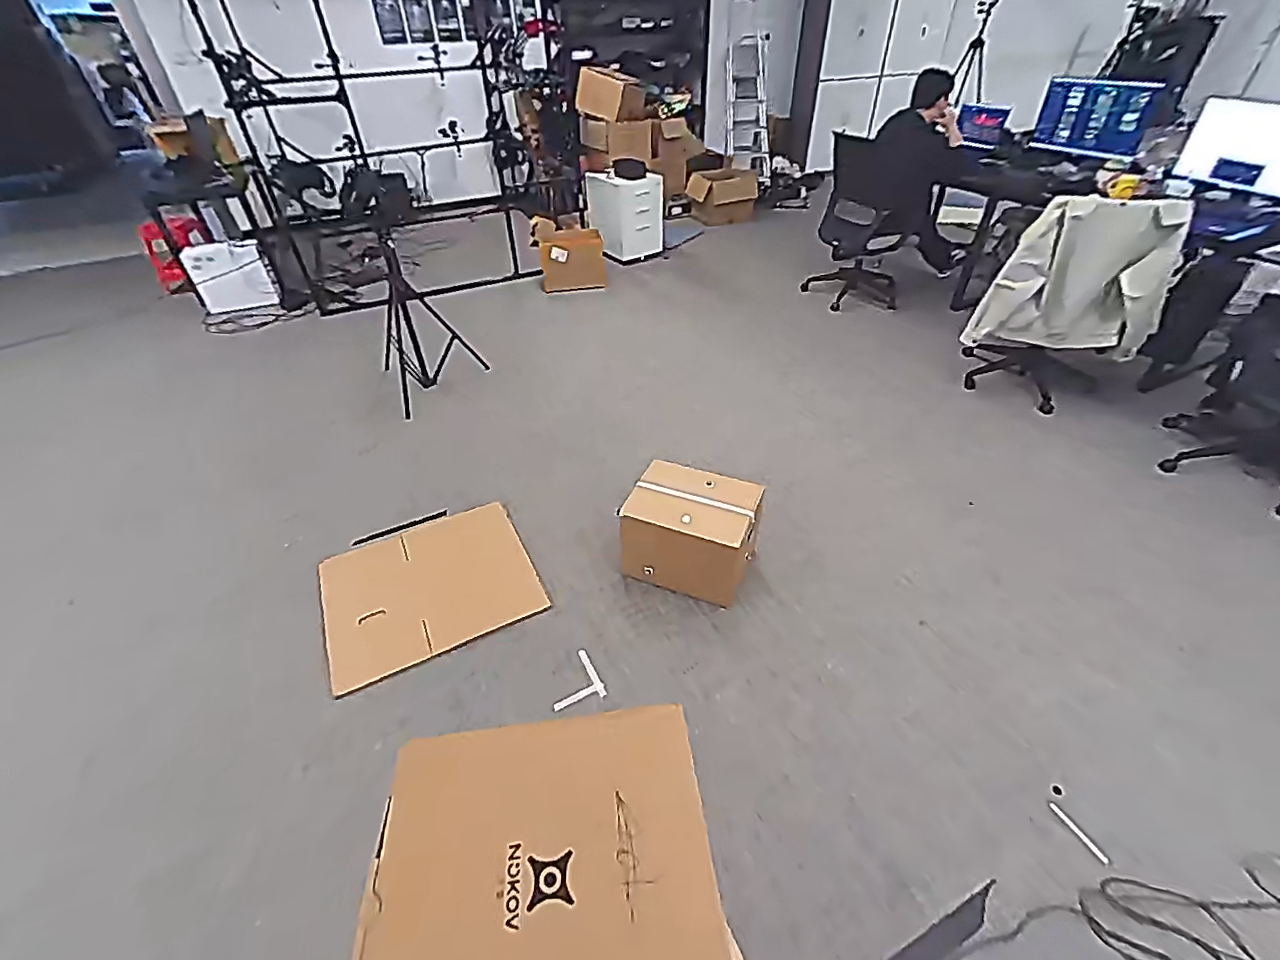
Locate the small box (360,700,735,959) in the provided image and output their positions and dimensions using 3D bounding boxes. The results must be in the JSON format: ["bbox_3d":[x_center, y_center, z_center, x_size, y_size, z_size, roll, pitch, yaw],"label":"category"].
[{"bbox_3d":[-0.046,0.261,0.327,0.179,0.176,0.168,-6,43,-5],"label":"small box"}]
